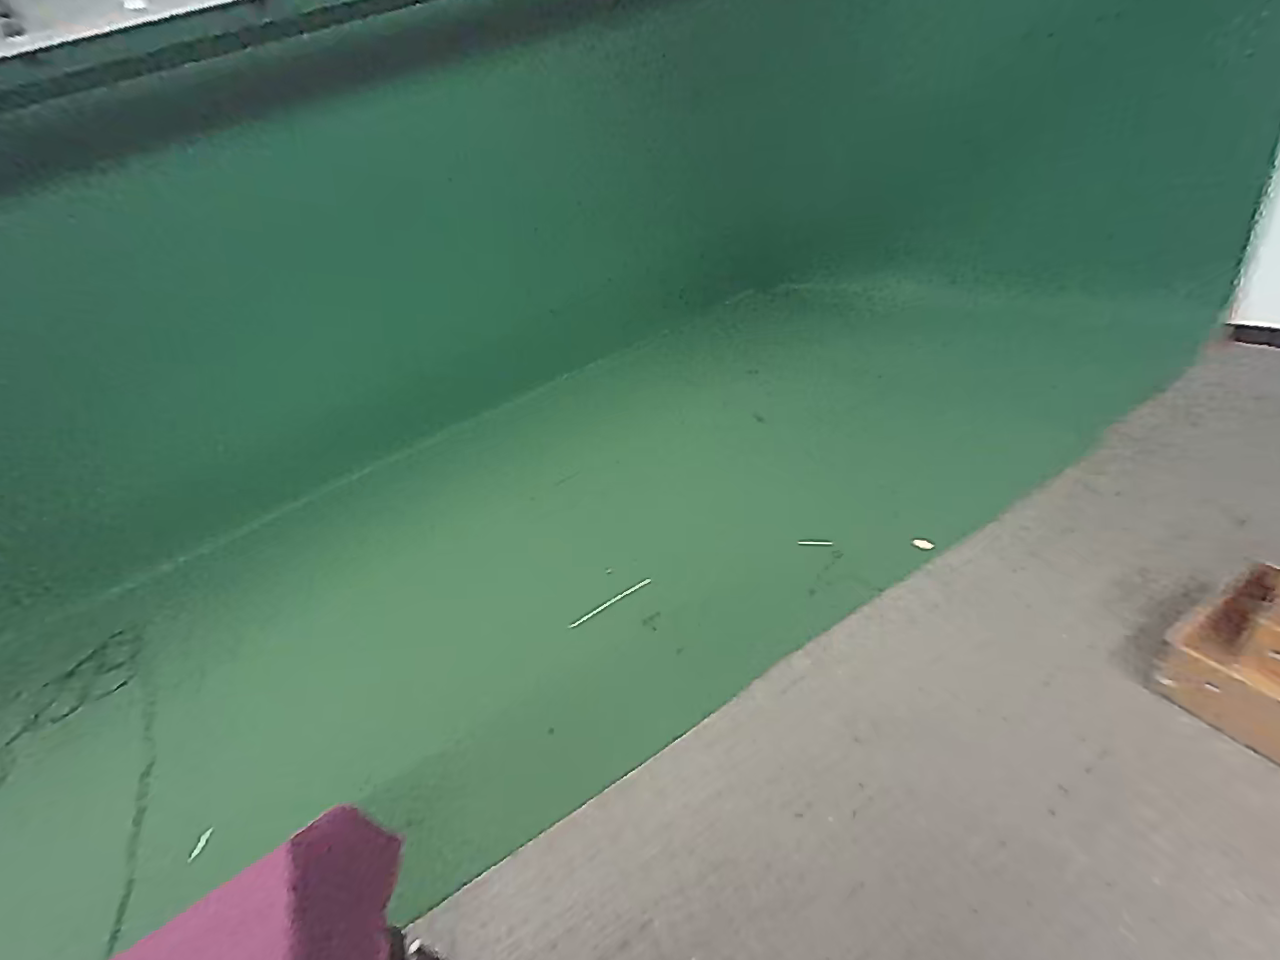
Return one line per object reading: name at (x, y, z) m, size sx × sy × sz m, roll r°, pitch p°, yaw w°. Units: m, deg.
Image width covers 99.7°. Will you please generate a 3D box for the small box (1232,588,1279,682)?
small box at (1.541, 0.369, 1.253) m, size 0.179 × 0.176 × 0.168 m, roll -27°, pitch 35°, yaw -11°
